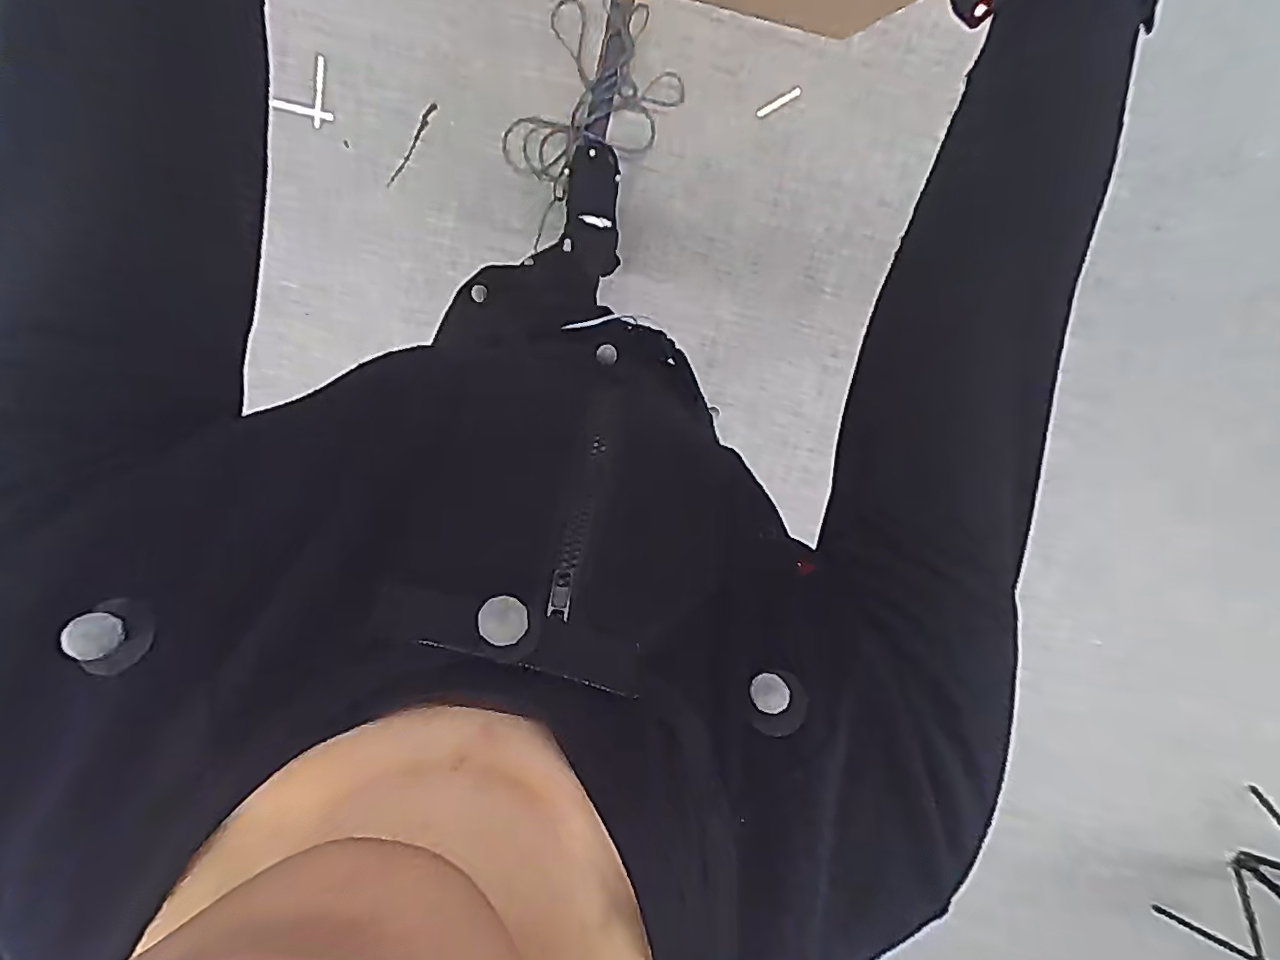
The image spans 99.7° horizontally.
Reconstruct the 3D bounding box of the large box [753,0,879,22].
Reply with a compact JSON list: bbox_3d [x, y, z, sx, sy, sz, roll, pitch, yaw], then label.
[{"bbox_3d":[0.055,-0.565,0.353,0.408,0.320,0.320,10,123,-6],"label":"large box"}]
